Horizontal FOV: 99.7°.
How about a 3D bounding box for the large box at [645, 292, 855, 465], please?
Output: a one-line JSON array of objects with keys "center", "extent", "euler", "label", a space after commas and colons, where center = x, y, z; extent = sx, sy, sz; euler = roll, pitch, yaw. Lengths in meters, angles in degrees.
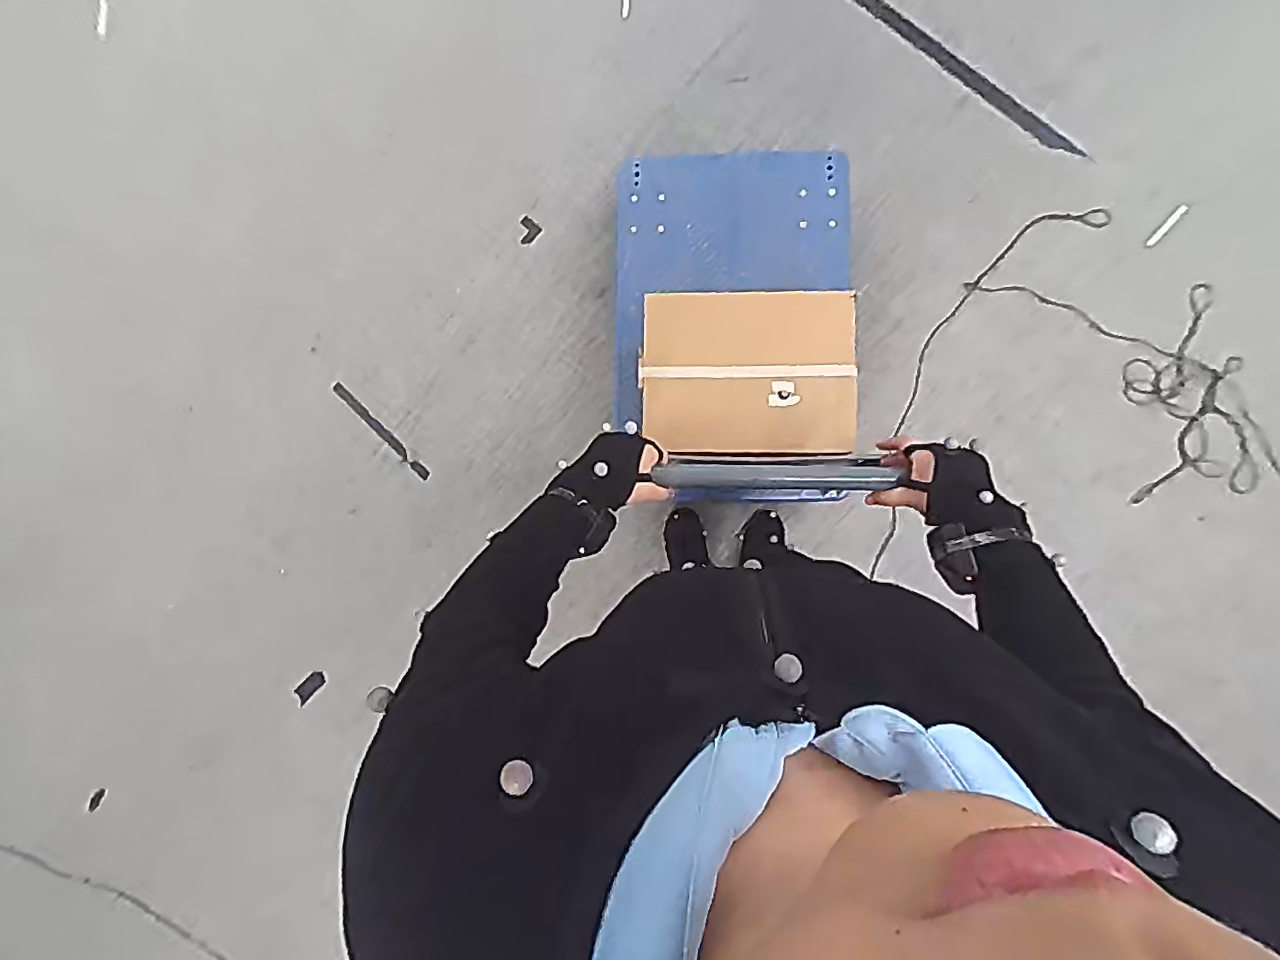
[{"center": [0.217, -0.201, 1.192], "extent": [0.408, 0.320, 0.320], "euler": [0, 88, 3], "label": "large box"}]
